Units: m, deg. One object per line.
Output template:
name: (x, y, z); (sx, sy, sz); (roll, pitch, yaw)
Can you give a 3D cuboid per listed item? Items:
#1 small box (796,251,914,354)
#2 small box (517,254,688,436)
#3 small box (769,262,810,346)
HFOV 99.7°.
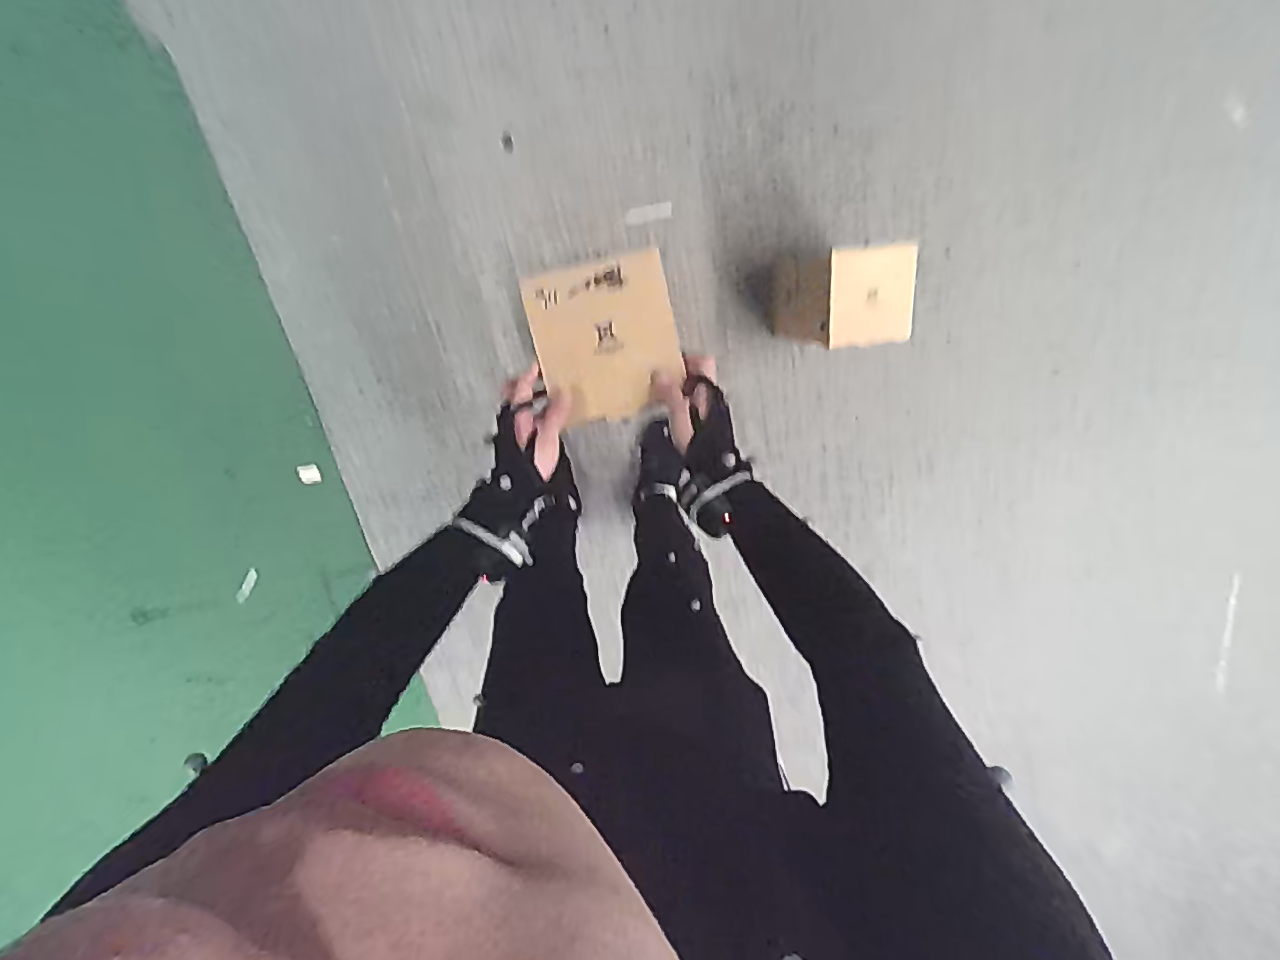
small box: (0.426, -0.357, 1.095); (0.168, 0.176, 0.179); (-7, 109, -4)
small box: (-0.042, -0.166, 0.692); (0.168, 0.176, 0.179); (-14, 101, 0)
small box: (0.405, -0.403, 1.248); (0.168, 0.176, 0.179); (0, 109, -3)
